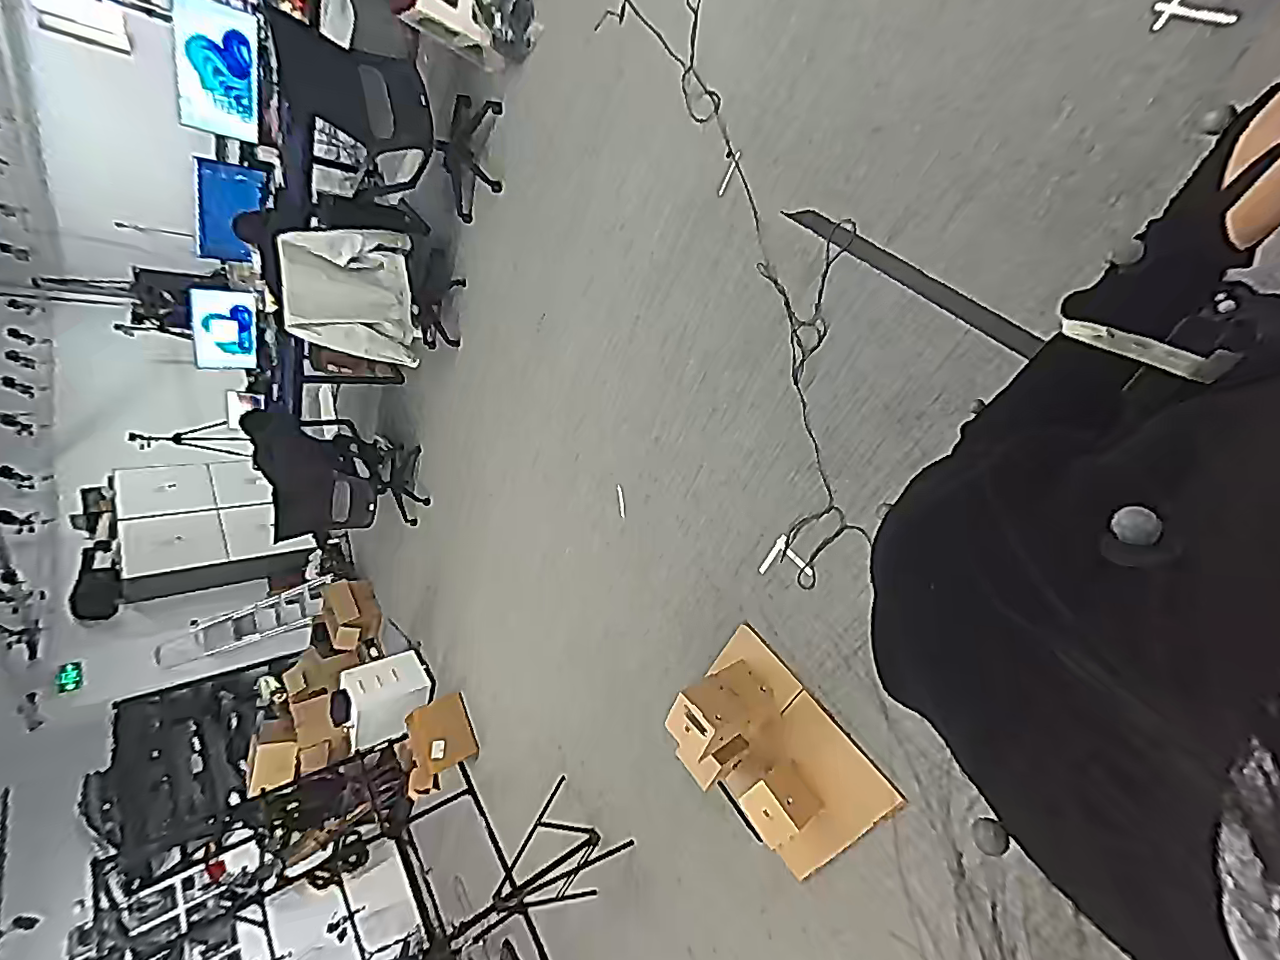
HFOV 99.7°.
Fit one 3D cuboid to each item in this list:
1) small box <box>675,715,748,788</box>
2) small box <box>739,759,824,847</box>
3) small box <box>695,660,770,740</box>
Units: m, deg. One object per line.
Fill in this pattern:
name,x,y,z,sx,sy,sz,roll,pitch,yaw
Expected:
small box,0.268,0.994,2.019,0.179,0.176,0.168,42,126,34
small box,0.471,1.066,1.803,0.179,0.176,0.168,50,129,29
small box,0.332,0.768,1.906,0.168,0.176,0.179,43,126,35
